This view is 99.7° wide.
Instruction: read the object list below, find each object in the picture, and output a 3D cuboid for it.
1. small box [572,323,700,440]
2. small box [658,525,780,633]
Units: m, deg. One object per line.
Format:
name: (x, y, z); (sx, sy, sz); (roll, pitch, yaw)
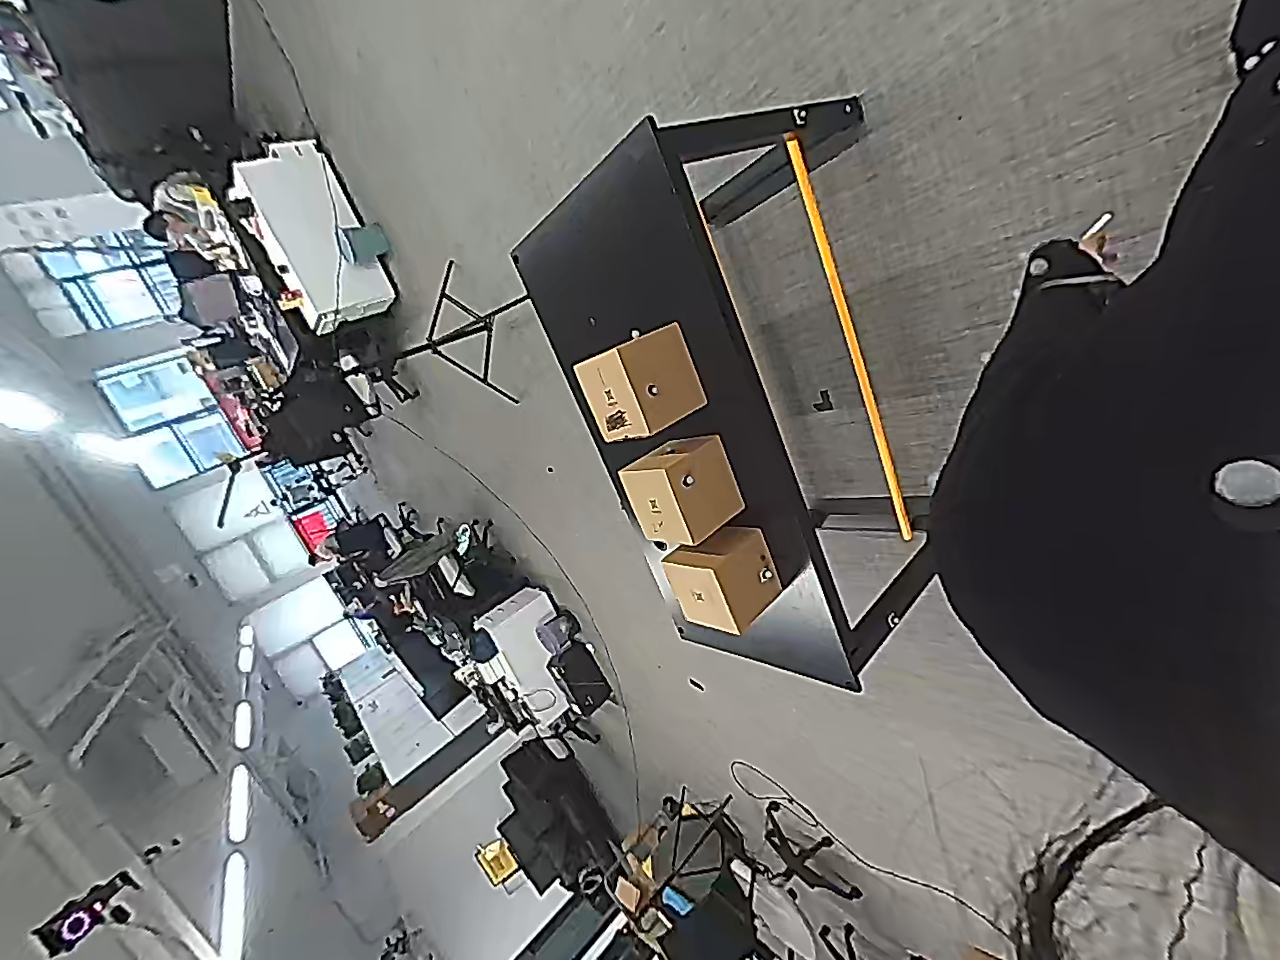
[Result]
small box: (-0.004, -0.198, 1.105); (0.168, 0.176, 0.179); (-2, 115, 54)
small box: (0.178, 0.211, 1.212); (0.179, 0.176, 0.168); (-4, 115, 54)
